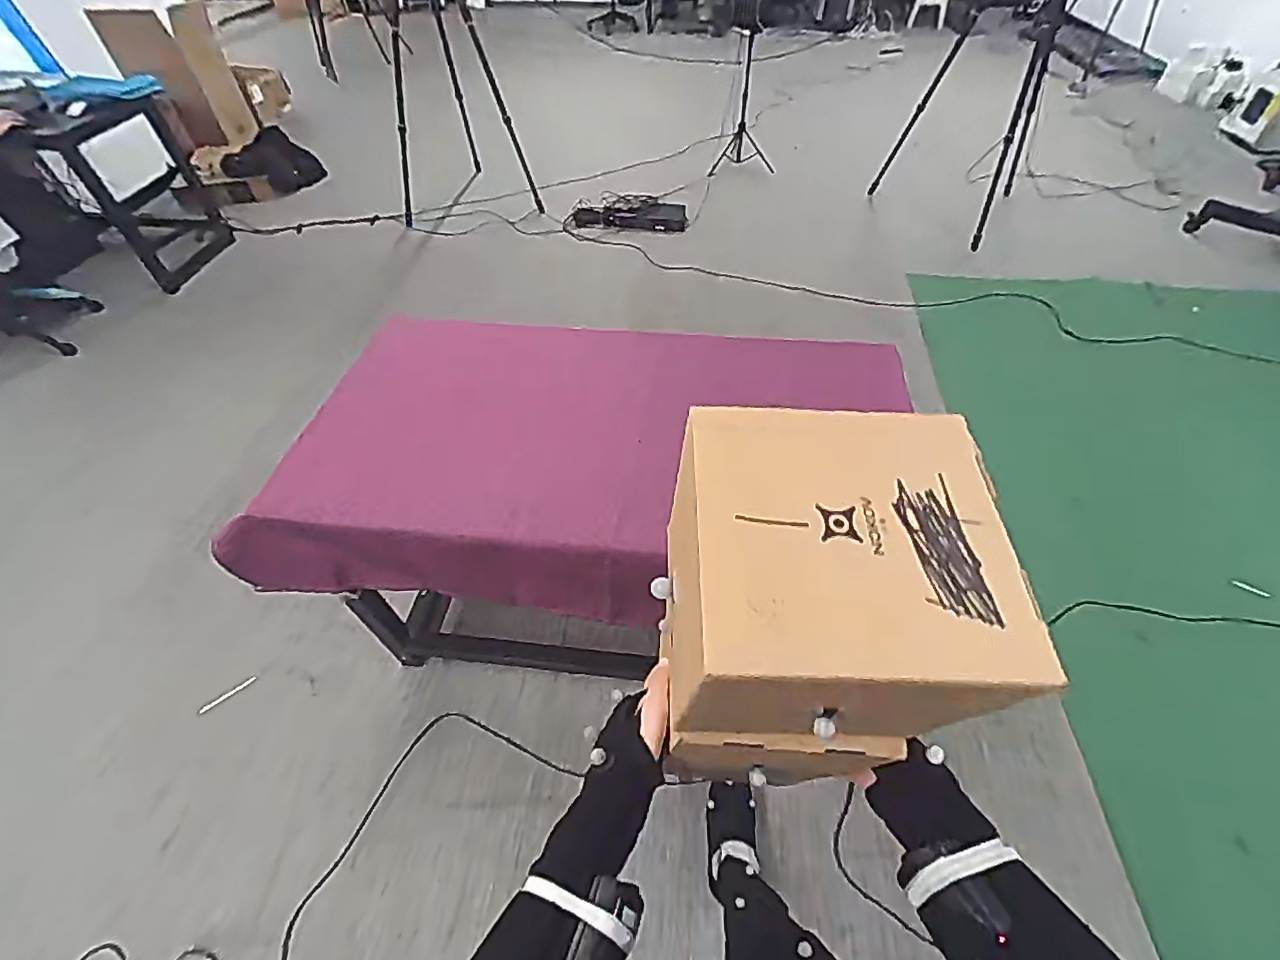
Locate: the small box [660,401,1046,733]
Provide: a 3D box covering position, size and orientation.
[{"bbox_3d":[0.108,0.067,0.365,0.179,0.176,0.168,2,56,-1],"label":"small box"}]

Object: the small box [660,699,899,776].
[{"bbox_3d":[0.107,0.160,0.499,0.168,0.176,0.179,4,56,1],"label":"small box"}]
